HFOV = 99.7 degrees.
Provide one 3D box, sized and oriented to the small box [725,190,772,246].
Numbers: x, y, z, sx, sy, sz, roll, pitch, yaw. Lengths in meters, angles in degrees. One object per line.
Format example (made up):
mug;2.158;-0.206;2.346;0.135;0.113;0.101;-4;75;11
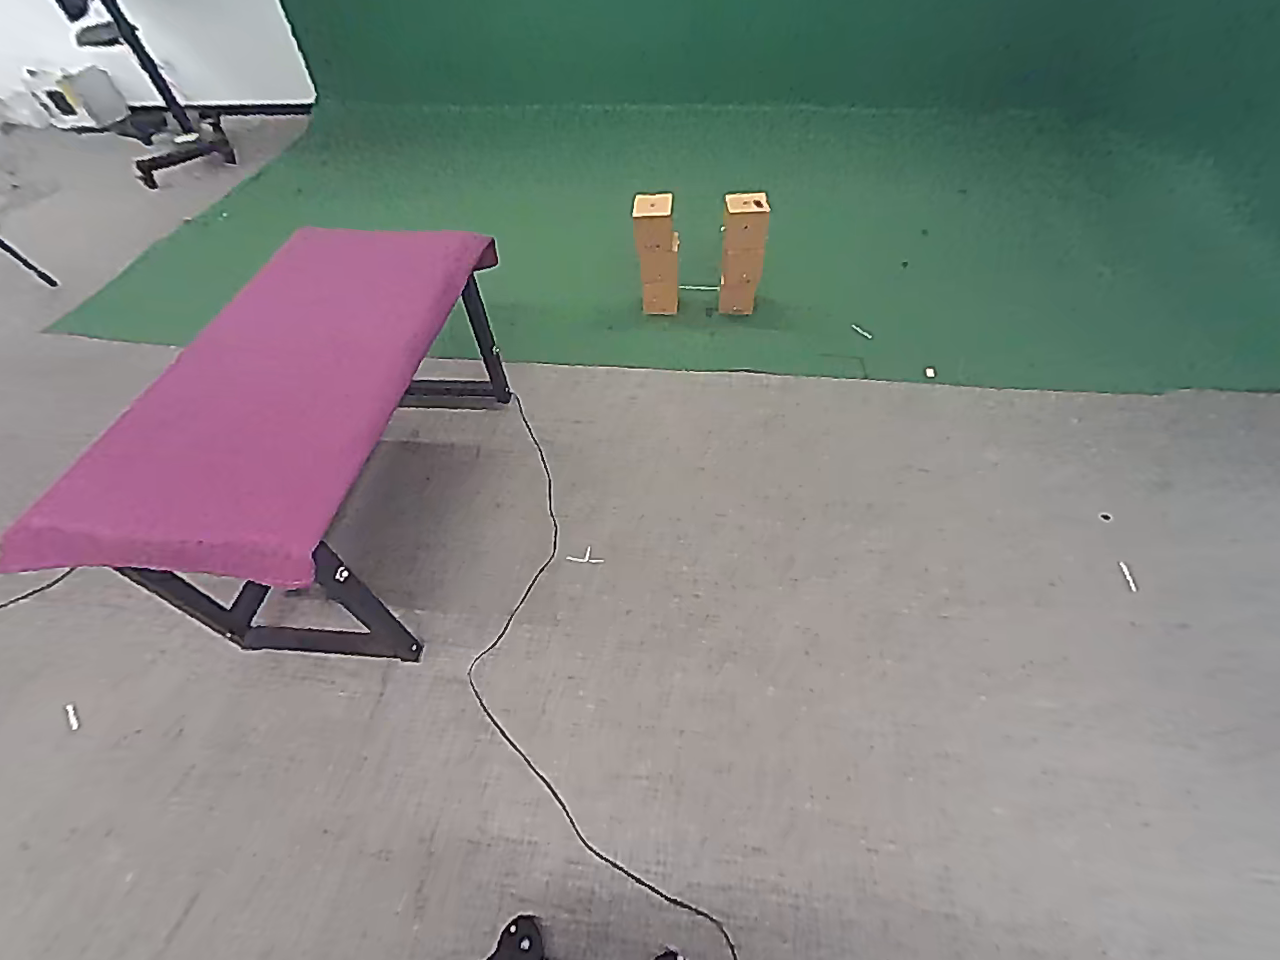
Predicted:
small box;0.474;-1.149;2.378;0.179;0.176;0.168;-2;52;3

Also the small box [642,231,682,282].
small box;0.104;-1.045;2.535;0.179;0.176;0.168;1;51;4

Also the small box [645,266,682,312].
small box;0.118;-0.943;2.662;0.168;0.176;0.179;2;52;6

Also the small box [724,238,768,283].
small box;0.484;-1.034;2.498;0.168;0.176;0.179;-4;52;2

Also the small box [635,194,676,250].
small box;0.072;-1.148;2.410;0.168;0.176;0.179;1;52;8
